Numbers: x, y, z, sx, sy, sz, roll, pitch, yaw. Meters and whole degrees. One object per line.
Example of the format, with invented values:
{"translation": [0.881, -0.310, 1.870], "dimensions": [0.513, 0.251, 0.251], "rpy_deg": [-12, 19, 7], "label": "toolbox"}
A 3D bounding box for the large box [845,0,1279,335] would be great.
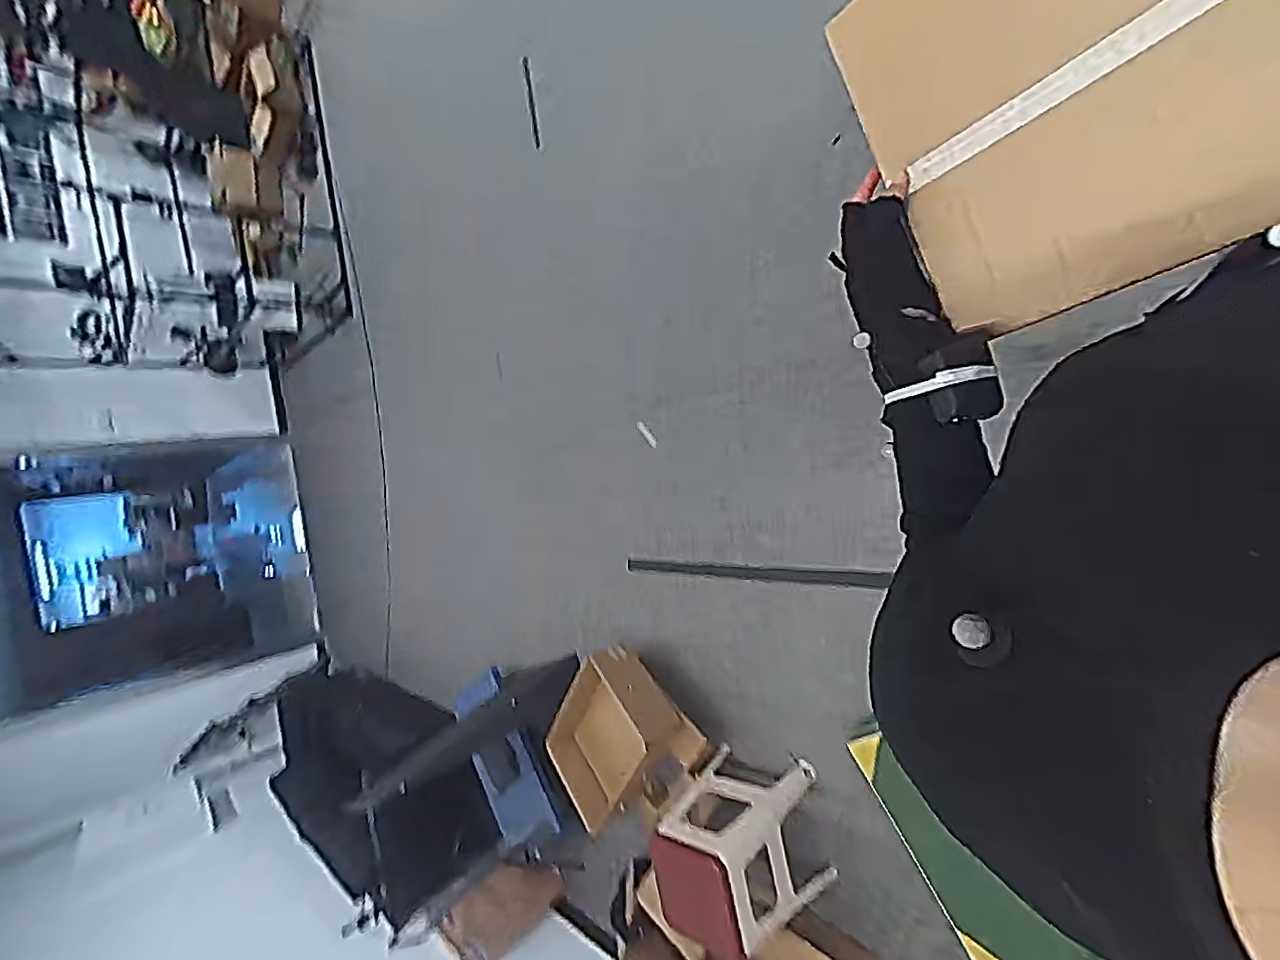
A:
{"translation": [0.466, -0.364, 0.467], "dimensions": [0.408, 0.320, 0.320], "rpy_deg": [-20, 95, 43], "label": "large box"}
